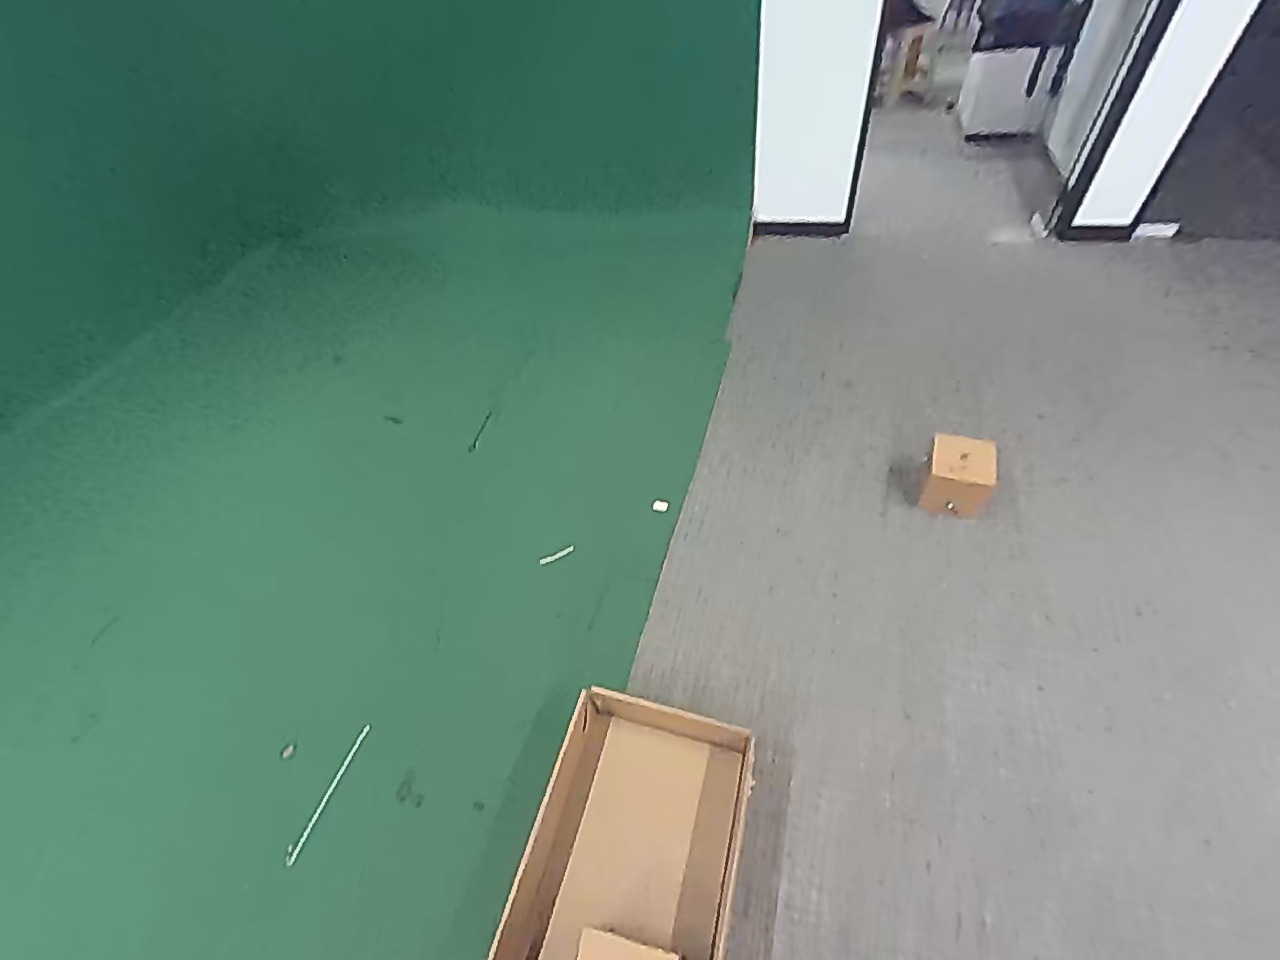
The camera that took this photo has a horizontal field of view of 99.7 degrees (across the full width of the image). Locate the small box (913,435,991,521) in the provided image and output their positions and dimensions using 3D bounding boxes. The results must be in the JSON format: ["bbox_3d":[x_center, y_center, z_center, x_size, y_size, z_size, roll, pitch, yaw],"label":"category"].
[{"bbox_3d":[0.944,-0.006,1.643,0.168,0.176,0.179,13,53,19],"label":"small box"}]

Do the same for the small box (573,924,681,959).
[{"bbox_3d":[-0.030,0.908,0.945,0.179,0.176,0.168,8,52,12],"label":"small box"}]
